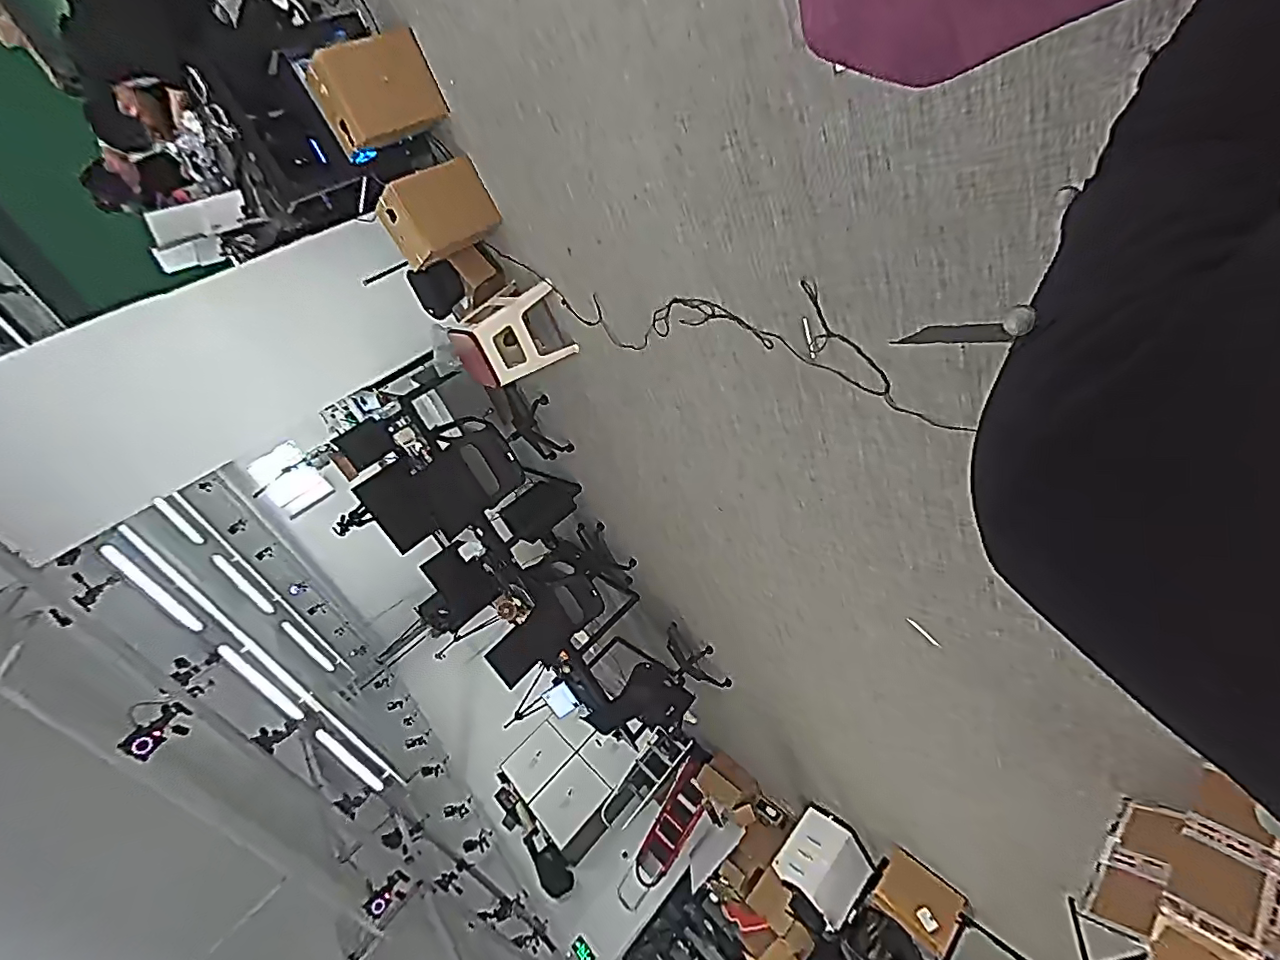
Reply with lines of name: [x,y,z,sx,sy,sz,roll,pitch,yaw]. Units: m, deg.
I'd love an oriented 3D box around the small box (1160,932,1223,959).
small box: [1.428,1.307,1.360,0.179,0.176,0.168,24,143,47]
